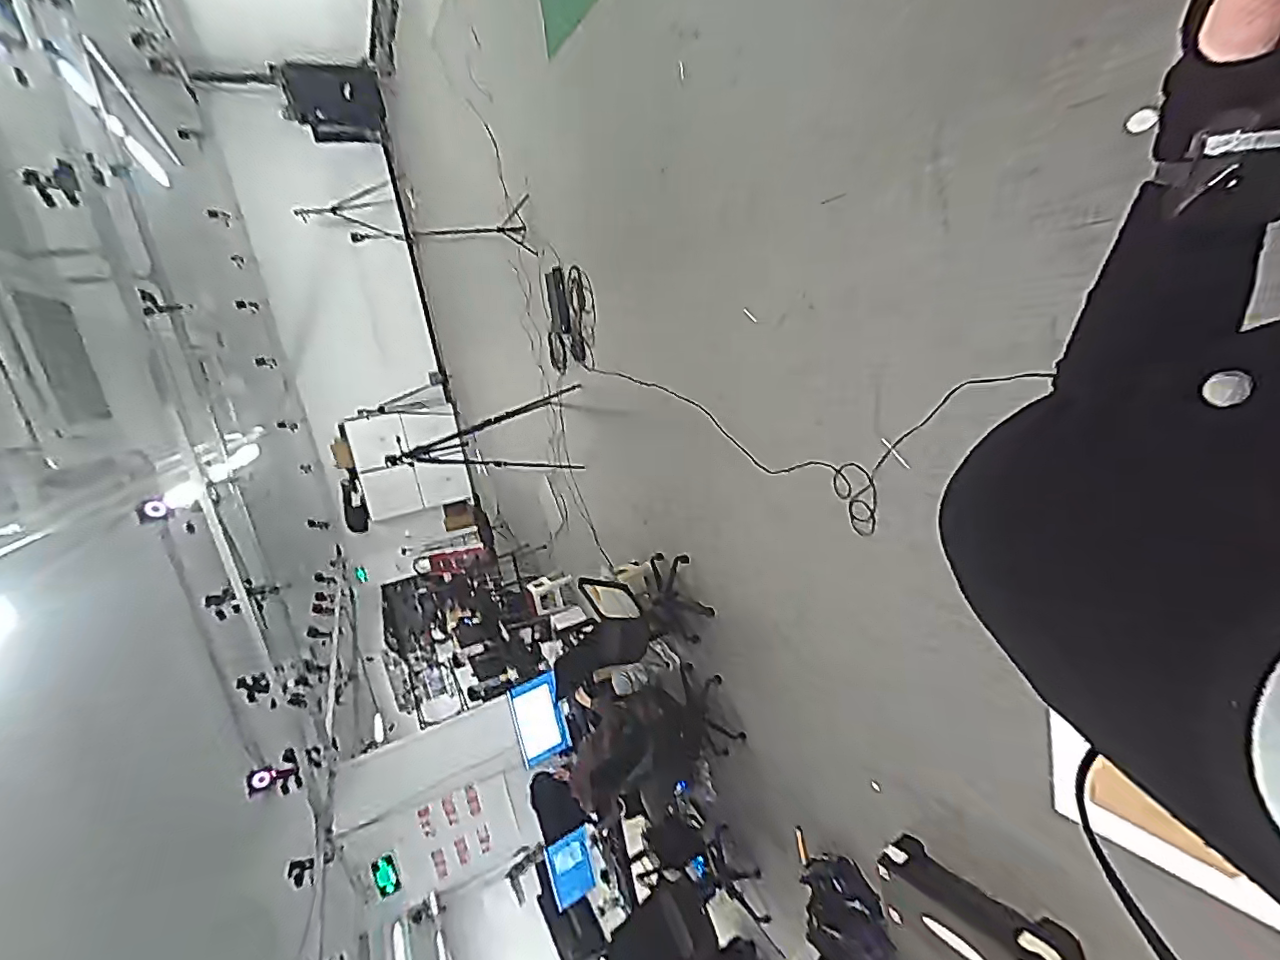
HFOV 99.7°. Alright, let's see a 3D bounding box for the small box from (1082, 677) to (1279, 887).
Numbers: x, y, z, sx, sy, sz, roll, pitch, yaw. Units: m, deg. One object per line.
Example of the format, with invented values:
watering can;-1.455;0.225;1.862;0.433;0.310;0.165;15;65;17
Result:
small box;0.788;0.422;0.792;0.168;0.176;0.179;15;119;62
